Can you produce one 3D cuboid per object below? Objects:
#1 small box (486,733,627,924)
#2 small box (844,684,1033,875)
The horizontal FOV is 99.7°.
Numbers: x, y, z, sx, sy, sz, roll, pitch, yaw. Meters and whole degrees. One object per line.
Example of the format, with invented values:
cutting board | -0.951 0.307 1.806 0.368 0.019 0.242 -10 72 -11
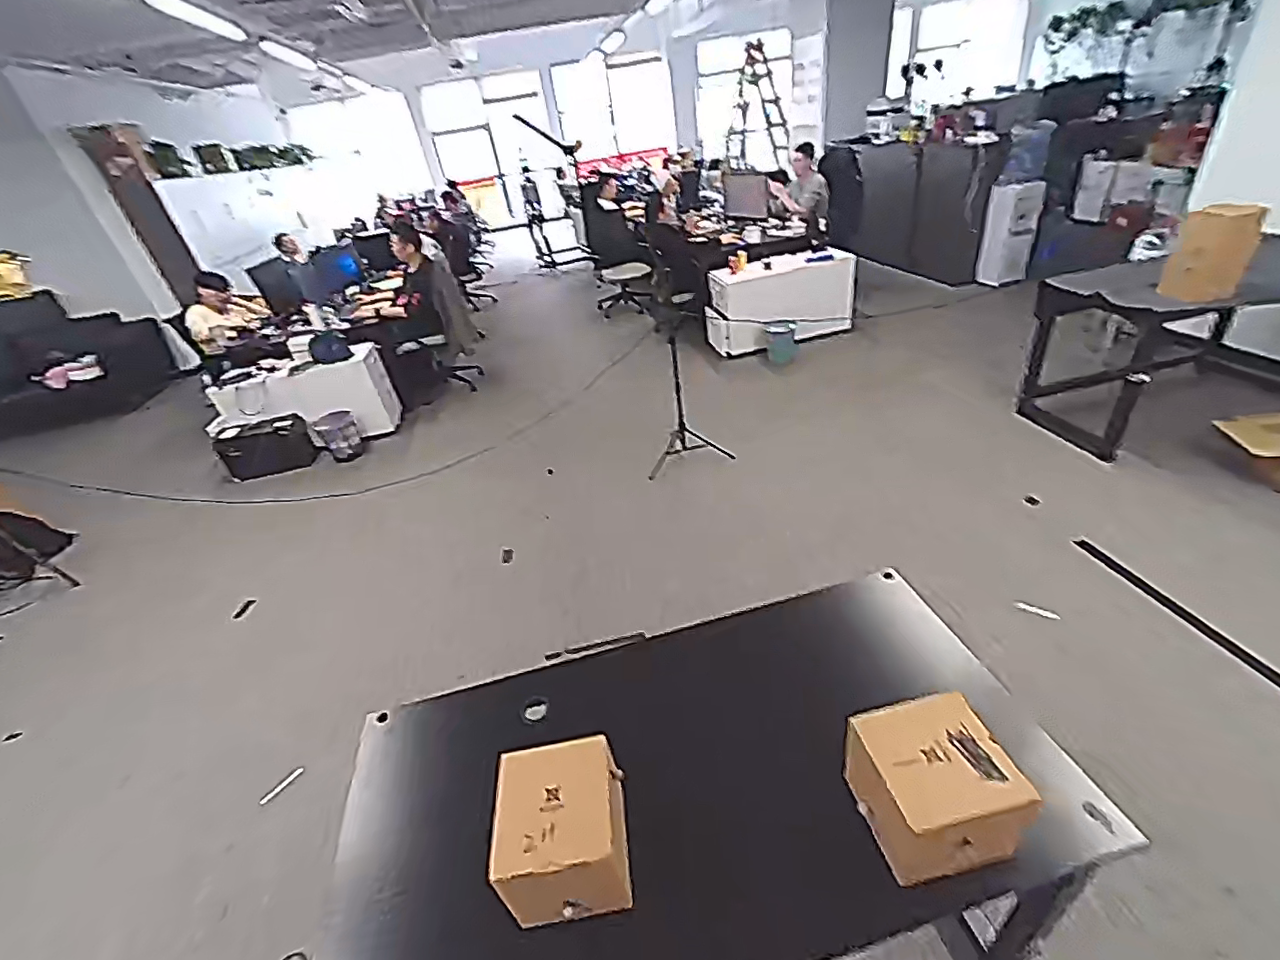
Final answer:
small box | -0.119 0.522 0.817 0.168 0.176 0.179 -11 33 -1
small box | 0.418 0.437 0.794 0.179 0.176 0.168 -14 33 -3
